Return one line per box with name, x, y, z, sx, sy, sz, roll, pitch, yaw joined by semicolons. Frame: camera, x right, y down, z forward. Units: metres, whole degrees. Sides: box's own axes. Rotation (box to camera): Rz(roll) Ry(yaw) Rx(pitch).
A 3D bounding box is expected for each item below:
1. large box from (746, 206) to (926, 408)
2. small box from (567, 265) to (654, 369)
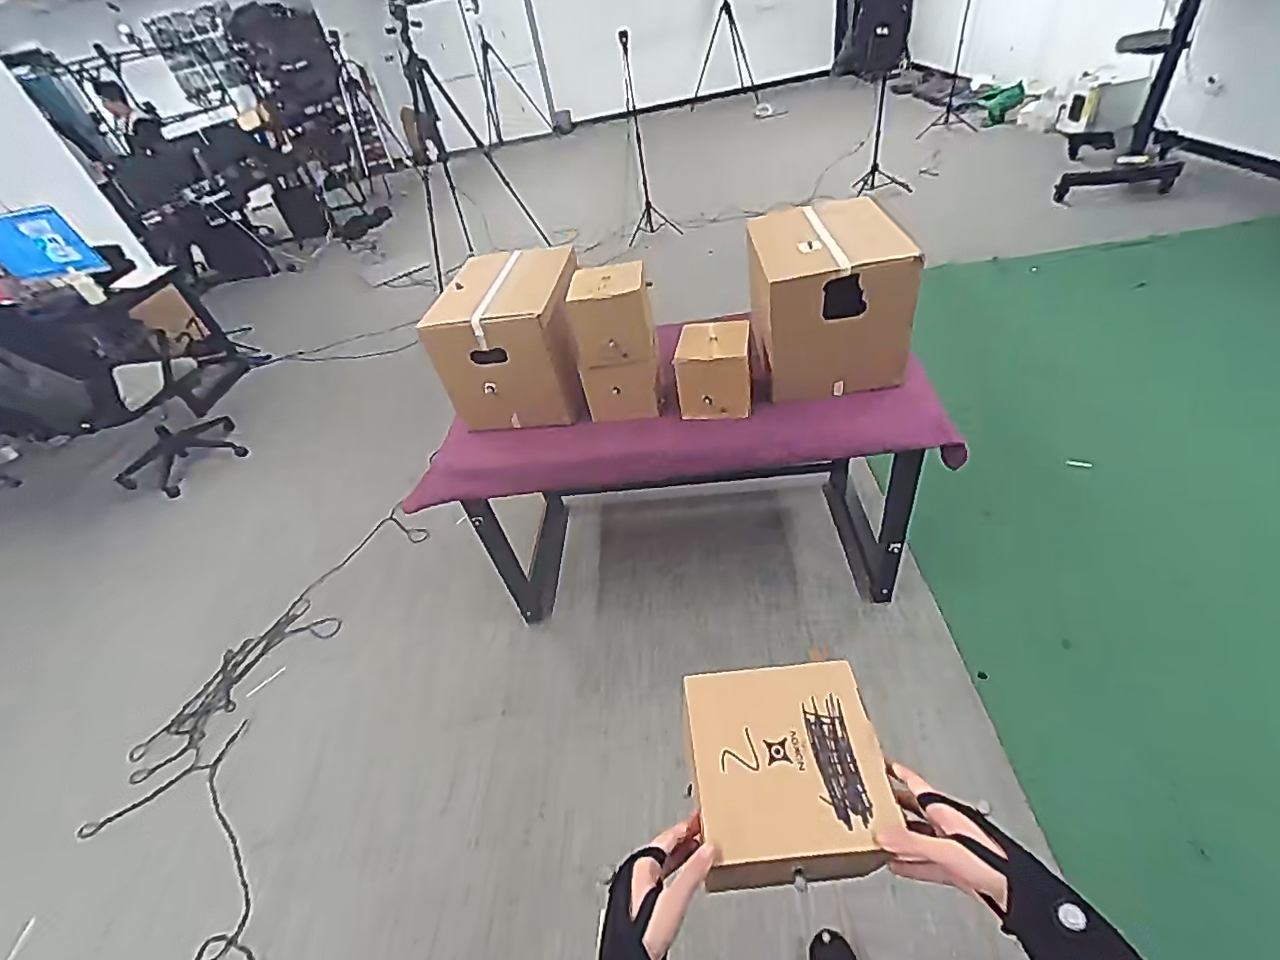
large box;0.453;-0.434;1.344;0.320;0.320;0.408;-8;42;9
small box;-0.062;-0.381;1.268;0.168;0.176;0.179;-6;42;9
